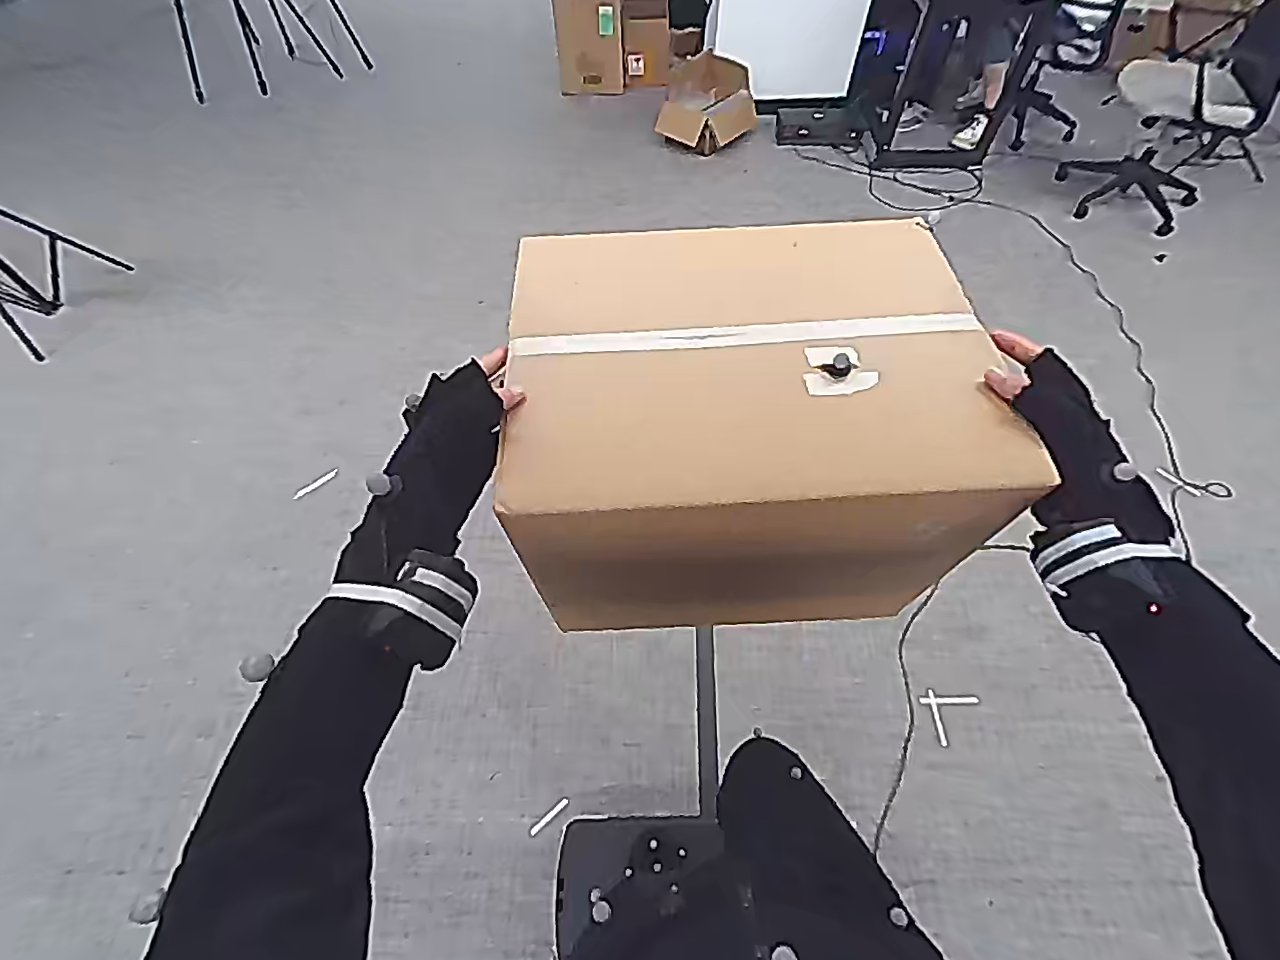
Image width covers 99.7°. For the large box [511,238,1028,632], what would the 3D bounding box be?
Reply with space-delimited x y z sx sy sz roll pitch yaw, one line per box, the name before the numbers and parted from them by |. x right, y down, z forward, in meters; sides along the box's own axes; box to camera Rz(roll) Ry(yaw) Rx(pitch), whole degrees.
large box | 0.091 -0.034 0.609 0.408 0.320 0.320 -3 59 -1
